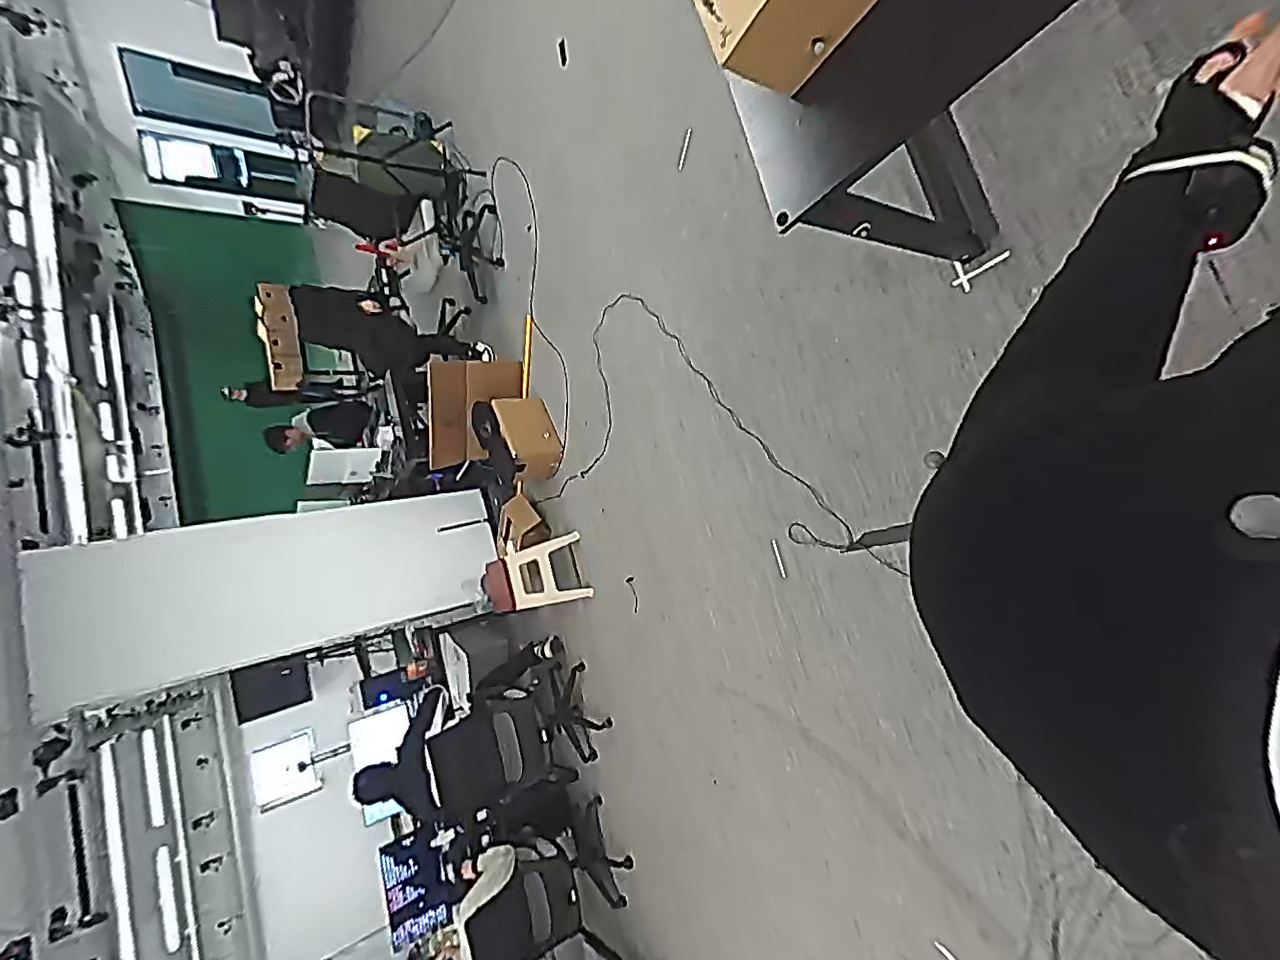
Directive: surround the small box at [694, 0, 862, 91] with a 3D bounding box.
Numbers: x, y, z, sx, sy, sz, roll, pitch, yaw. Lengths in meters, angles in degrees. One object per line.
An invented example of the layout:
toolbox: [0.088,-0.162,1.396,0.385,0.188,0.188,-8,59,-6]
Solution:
small box: [0.202,-0.726,0.789,0.179,0.176,0.168,-29,74,51]
